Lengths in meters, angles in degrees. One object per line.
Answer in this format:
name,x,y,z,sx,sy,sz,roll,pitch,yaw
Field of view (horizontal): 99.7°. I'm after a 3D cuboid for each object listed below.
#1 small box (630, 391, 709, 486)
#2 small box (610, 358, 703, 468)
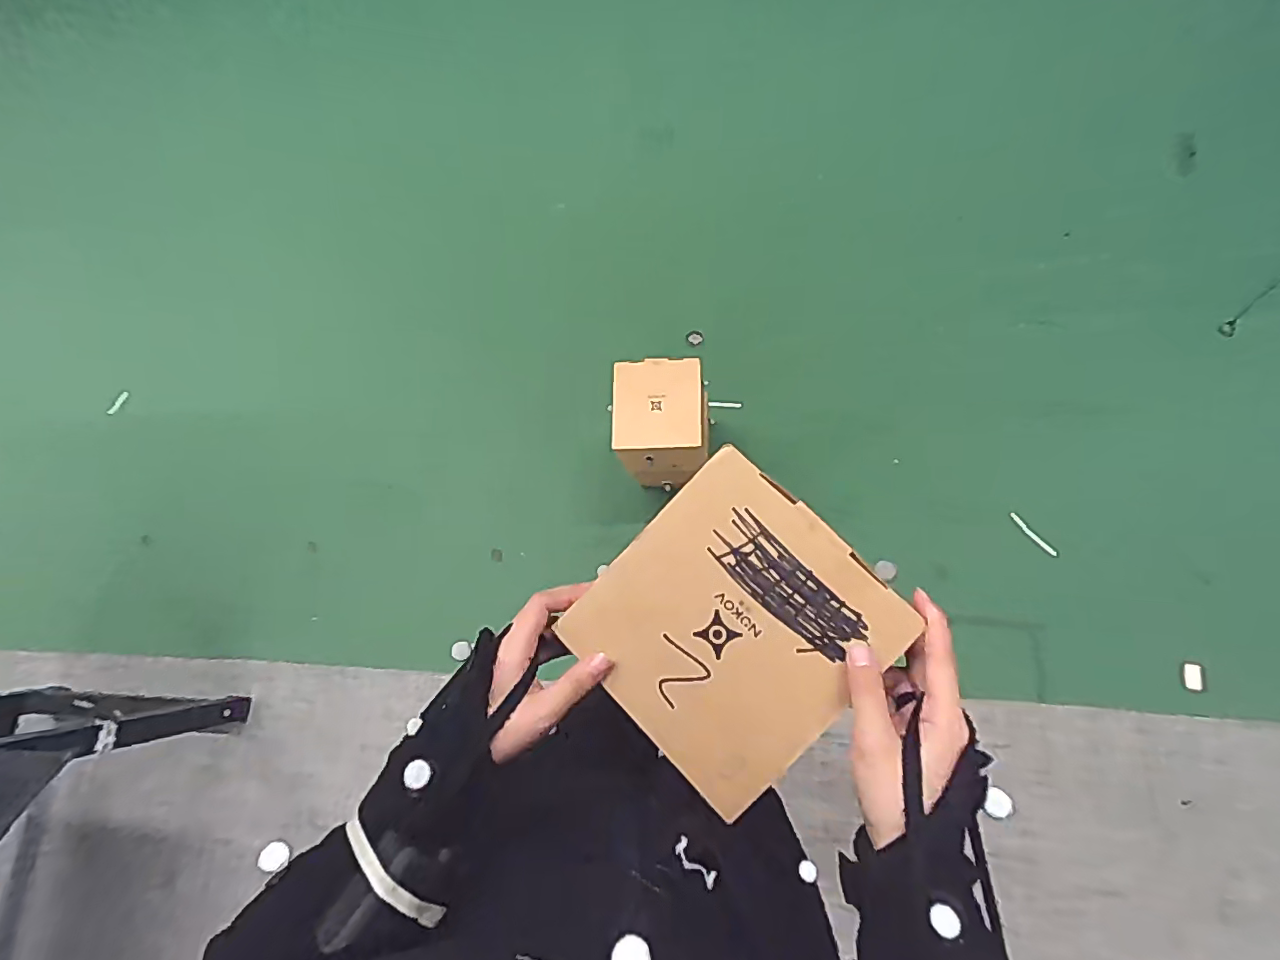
small box,0.070,-0.089,1.225,0.168,0.176,0.179,-1,77,9
small box,0.039,-0.123,1.069,0.168,0.176,0.179,-2,76,8
